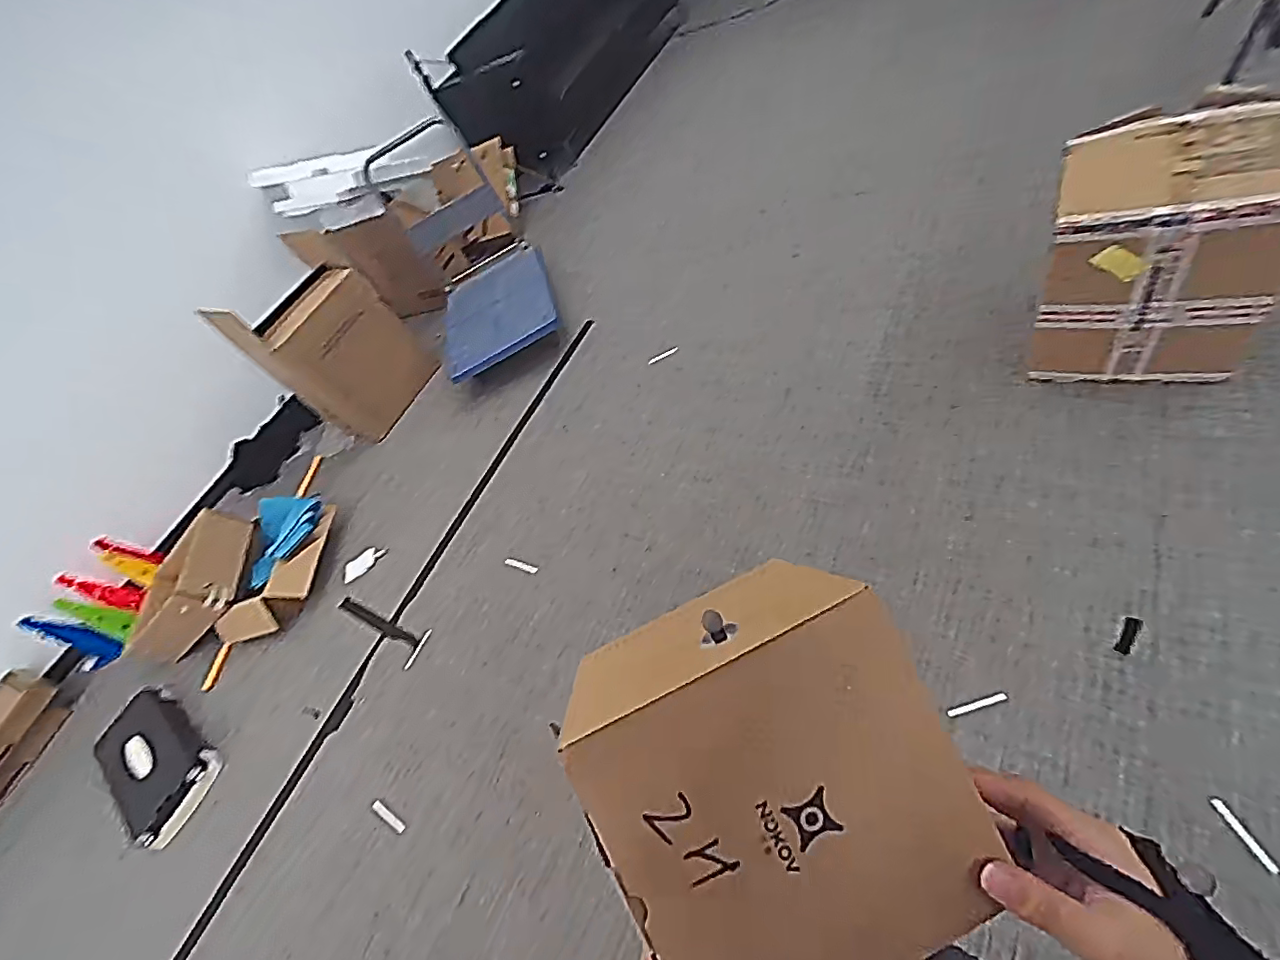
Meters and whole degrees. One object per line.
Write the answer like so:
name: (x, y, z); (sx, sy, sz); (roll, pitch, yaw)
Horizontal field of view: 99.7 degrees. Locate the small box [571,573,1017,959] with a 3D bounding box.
small box: (0.072, 0.172, 0.343); (0.179, 0.176, 0.168); (-26, 87, -3)
